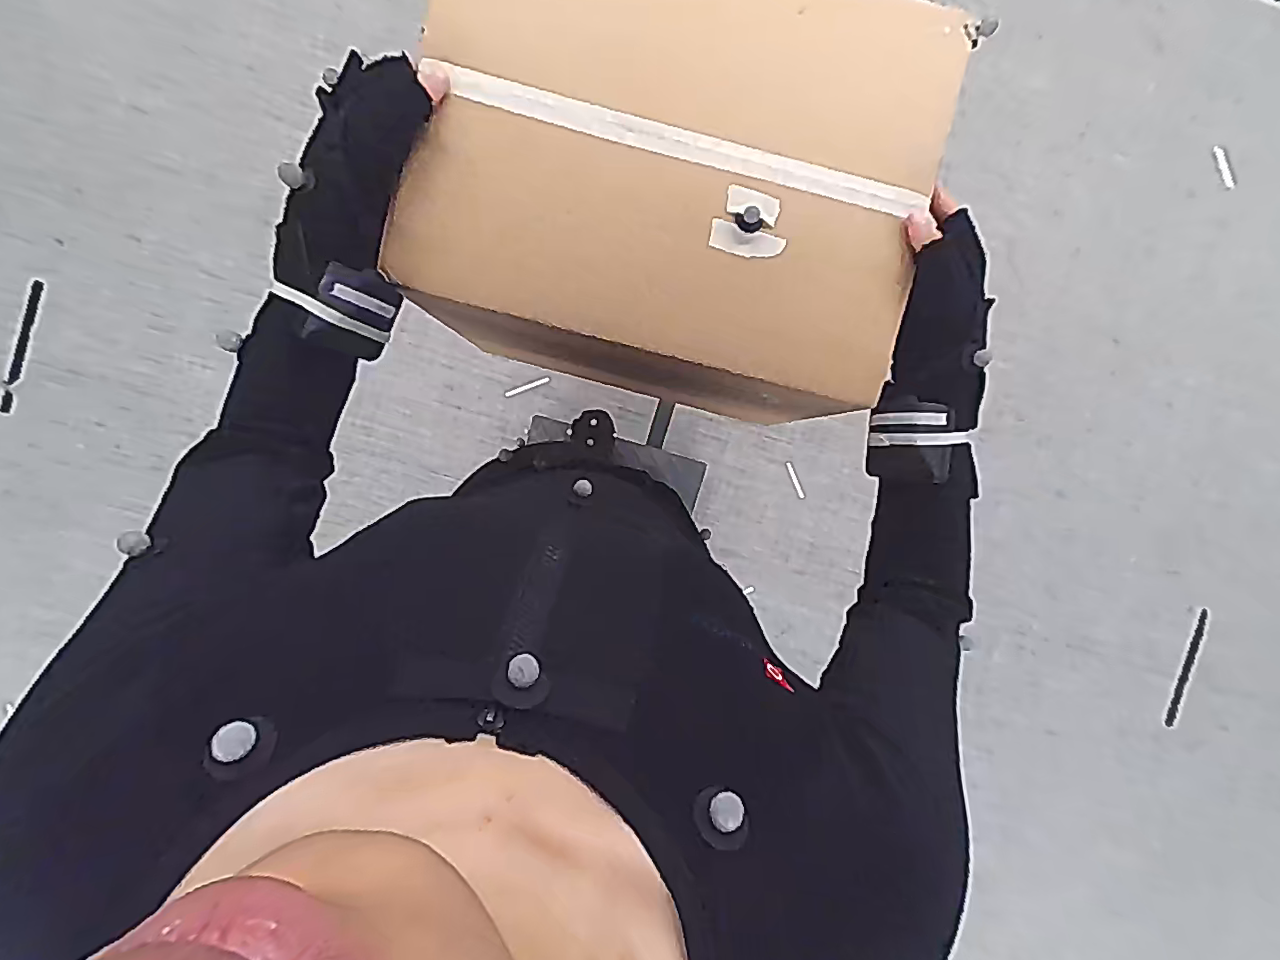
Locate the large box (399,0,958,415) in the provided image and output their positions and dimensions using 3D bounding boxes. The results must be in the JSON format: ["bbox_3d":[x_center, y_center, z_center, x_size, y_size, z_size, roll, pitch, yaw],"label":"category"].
[{"bbox_3d":[0.025,-0.273,0.581,0.408,0.320,0.320,14,93,-3],"label":"large box"}]

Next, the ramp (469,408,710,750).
[{"bbox_3d":[-0.169,0.330,1.583,0.509,0.206,0.991,14,94,-3],"label":"ramp"}]
